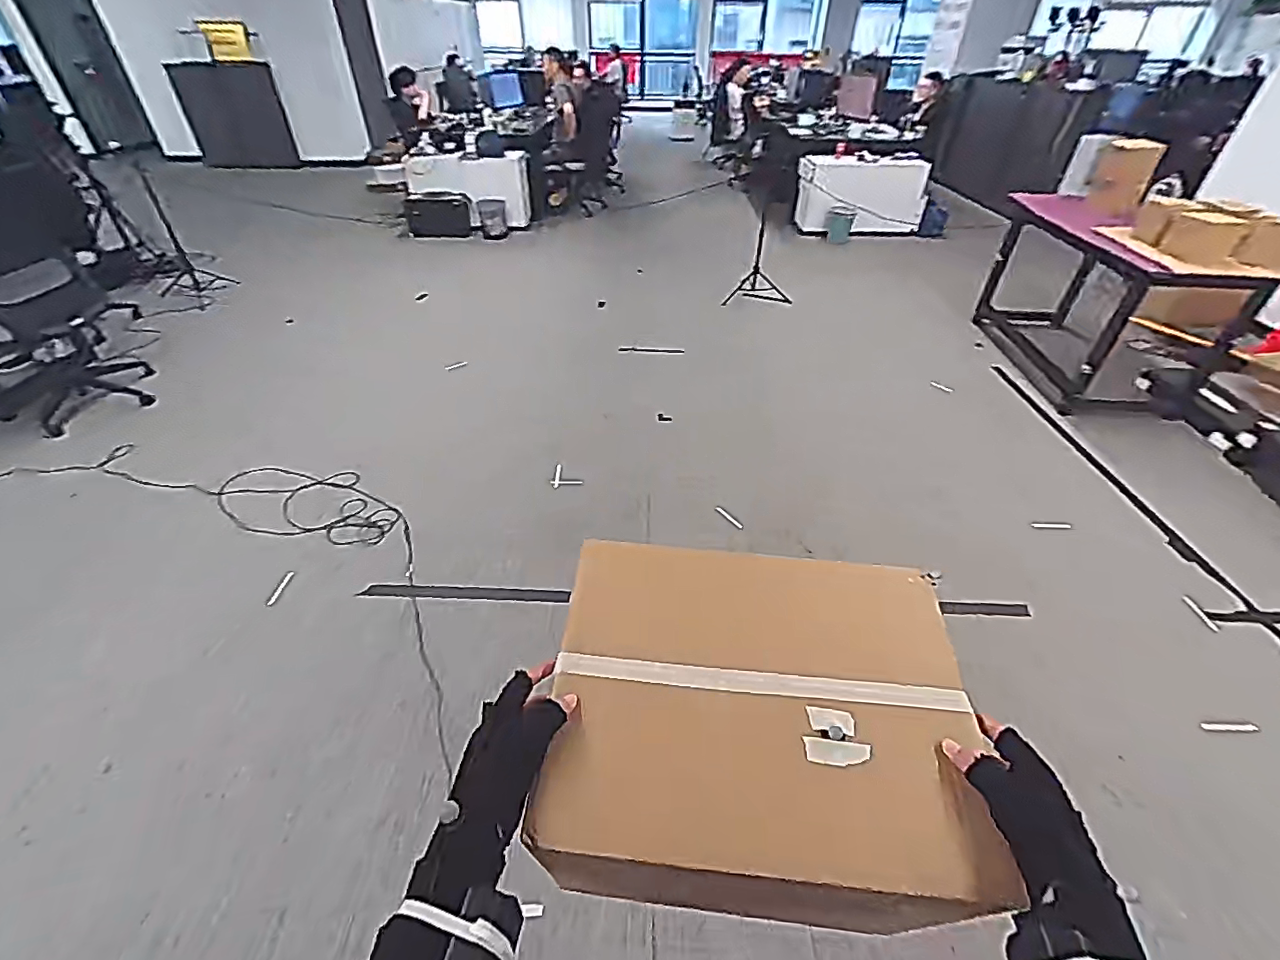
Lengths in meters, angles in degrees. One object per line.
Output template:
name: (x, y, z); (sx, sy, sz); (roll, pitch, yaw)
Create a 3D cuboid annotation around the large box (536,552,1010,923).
large box: (0.116, 0.312, 0.657); (0.408, 0.320, 0.320); (4, 48, 3)
